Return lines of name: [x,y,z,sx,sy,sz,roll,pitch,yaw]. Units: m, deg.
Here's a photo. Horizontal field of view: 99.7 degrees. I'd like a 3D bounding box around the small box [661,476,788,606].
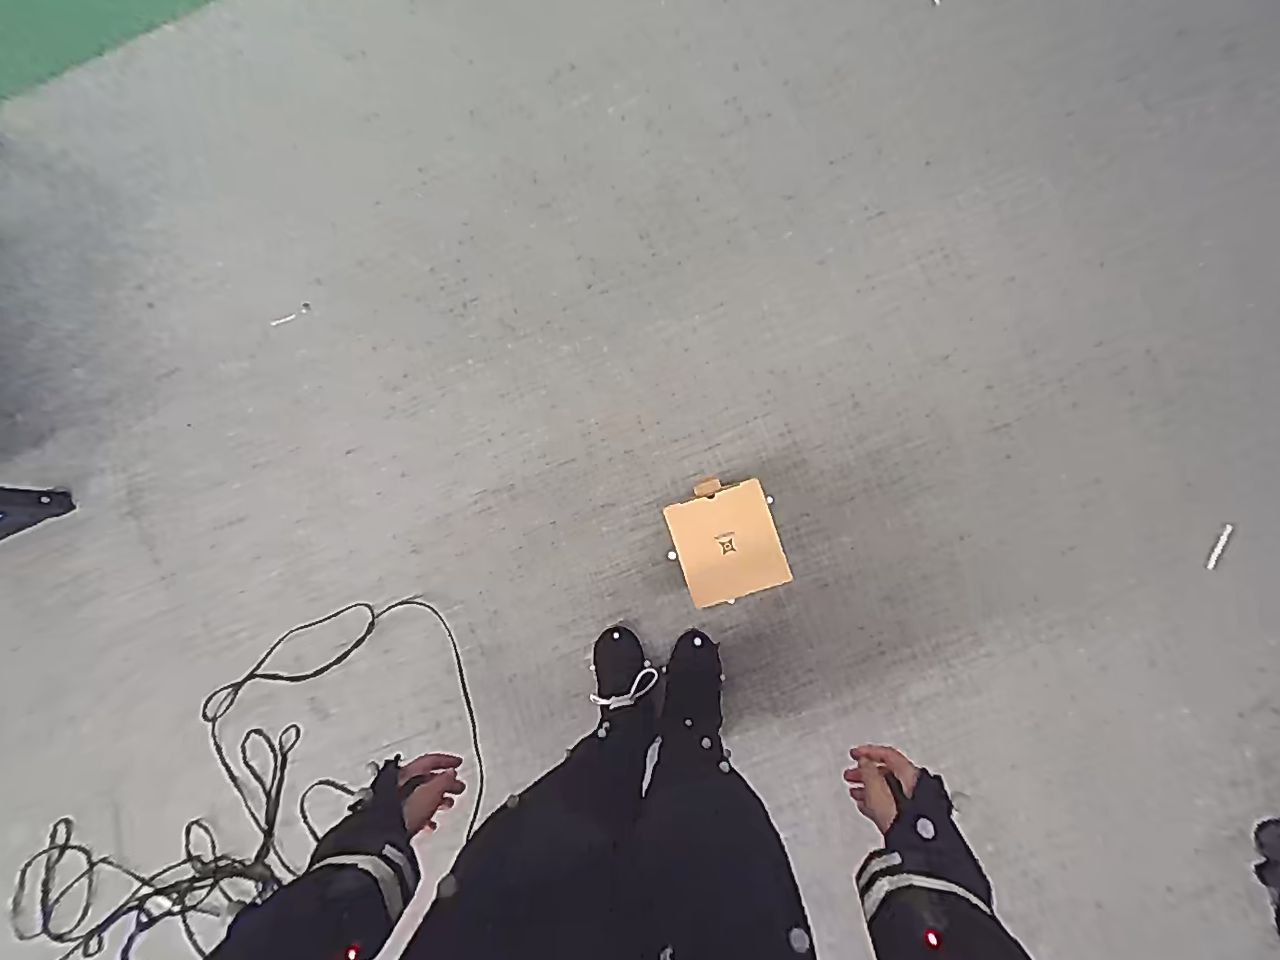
small box: [0.146,0.106,0.953,0.168,0.176,0.179,-18,82,4]
